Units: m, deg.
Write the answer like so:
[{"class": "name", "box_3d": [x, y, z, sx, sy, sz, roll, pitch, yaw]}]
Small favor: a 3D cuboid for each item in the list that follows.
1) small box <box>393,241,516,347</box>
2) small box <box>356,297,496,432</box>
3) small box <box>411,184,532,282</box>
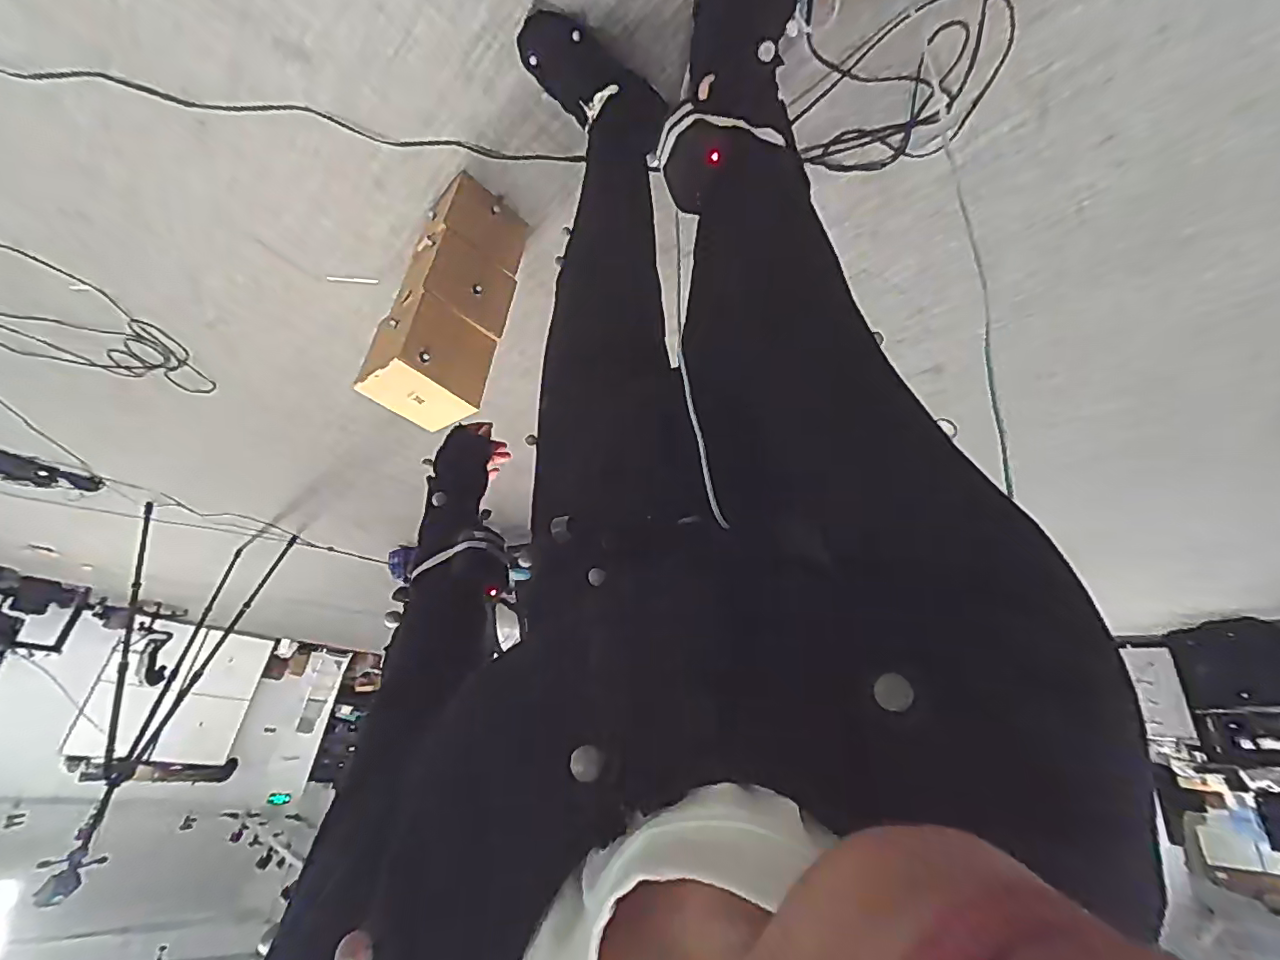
[{"class": "small box", "box_3d": [-0.387, -0.368, 1.133, 0.168, 0.176, 0.179, -18, 145, 40]}, {"class": "small box", "box_3d": [-0.412, -0.223, 1.064, 0.168, 0.176, 0.179, -15, 145, 36]}, {"class": "small box", "box_3d": [-0.369, -0.518, 1.202, 0.179, 0.176, 0.168, 30, 148, -35]}]
